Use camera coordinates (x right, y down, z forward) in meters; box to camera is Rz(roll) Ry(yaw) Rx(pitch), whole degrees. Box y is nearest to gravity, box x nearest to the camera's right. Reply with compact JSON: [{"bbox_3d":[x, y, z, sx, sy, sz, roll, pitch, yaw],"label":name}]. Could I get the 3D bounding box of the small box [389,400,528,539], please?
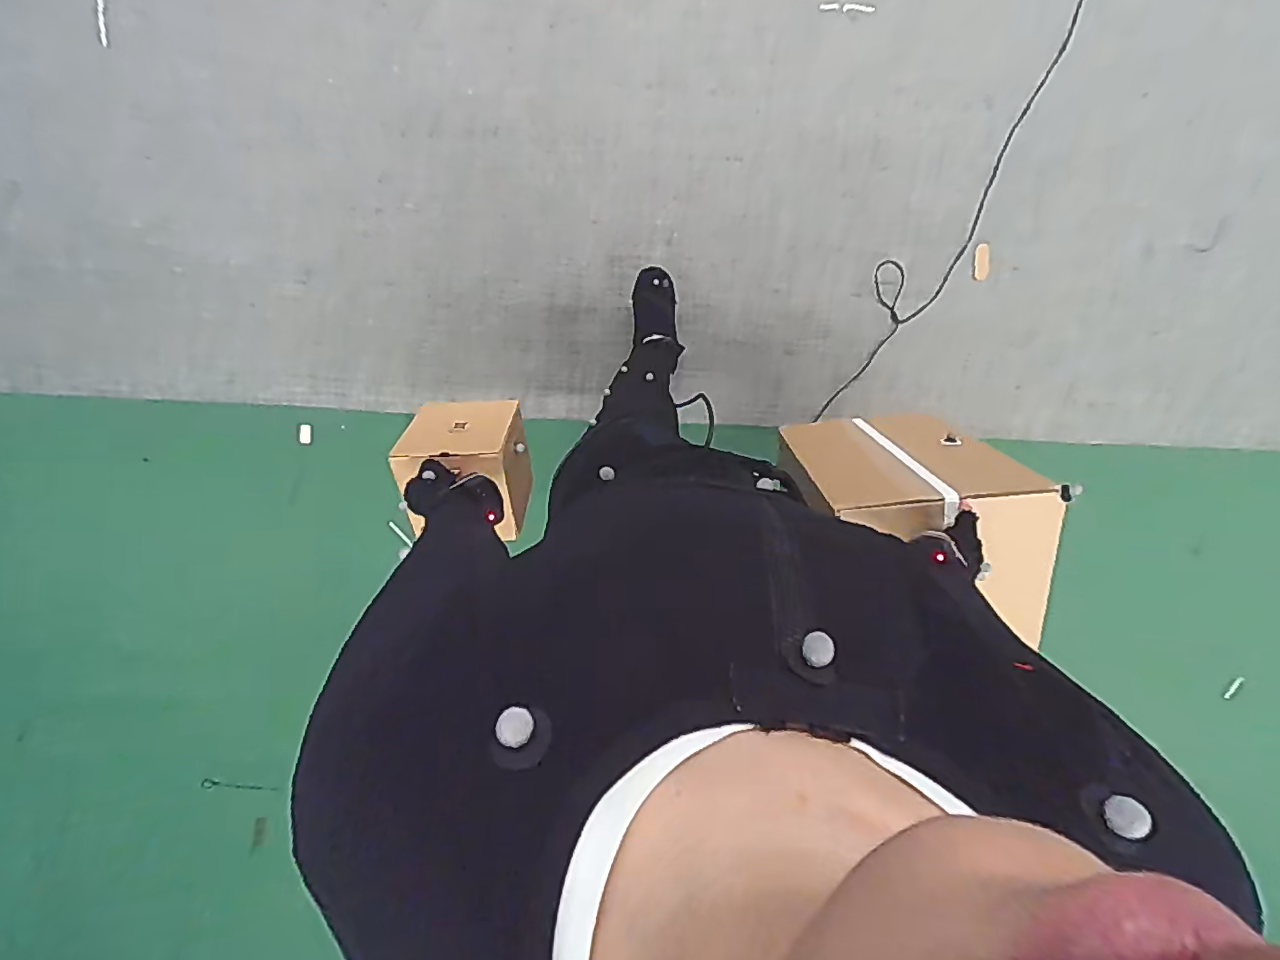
[{"bbox_3d":[-0.288,-0.020,0.905,0.168,0.179,0.176,-2,125,0],"label":"small box"}]
